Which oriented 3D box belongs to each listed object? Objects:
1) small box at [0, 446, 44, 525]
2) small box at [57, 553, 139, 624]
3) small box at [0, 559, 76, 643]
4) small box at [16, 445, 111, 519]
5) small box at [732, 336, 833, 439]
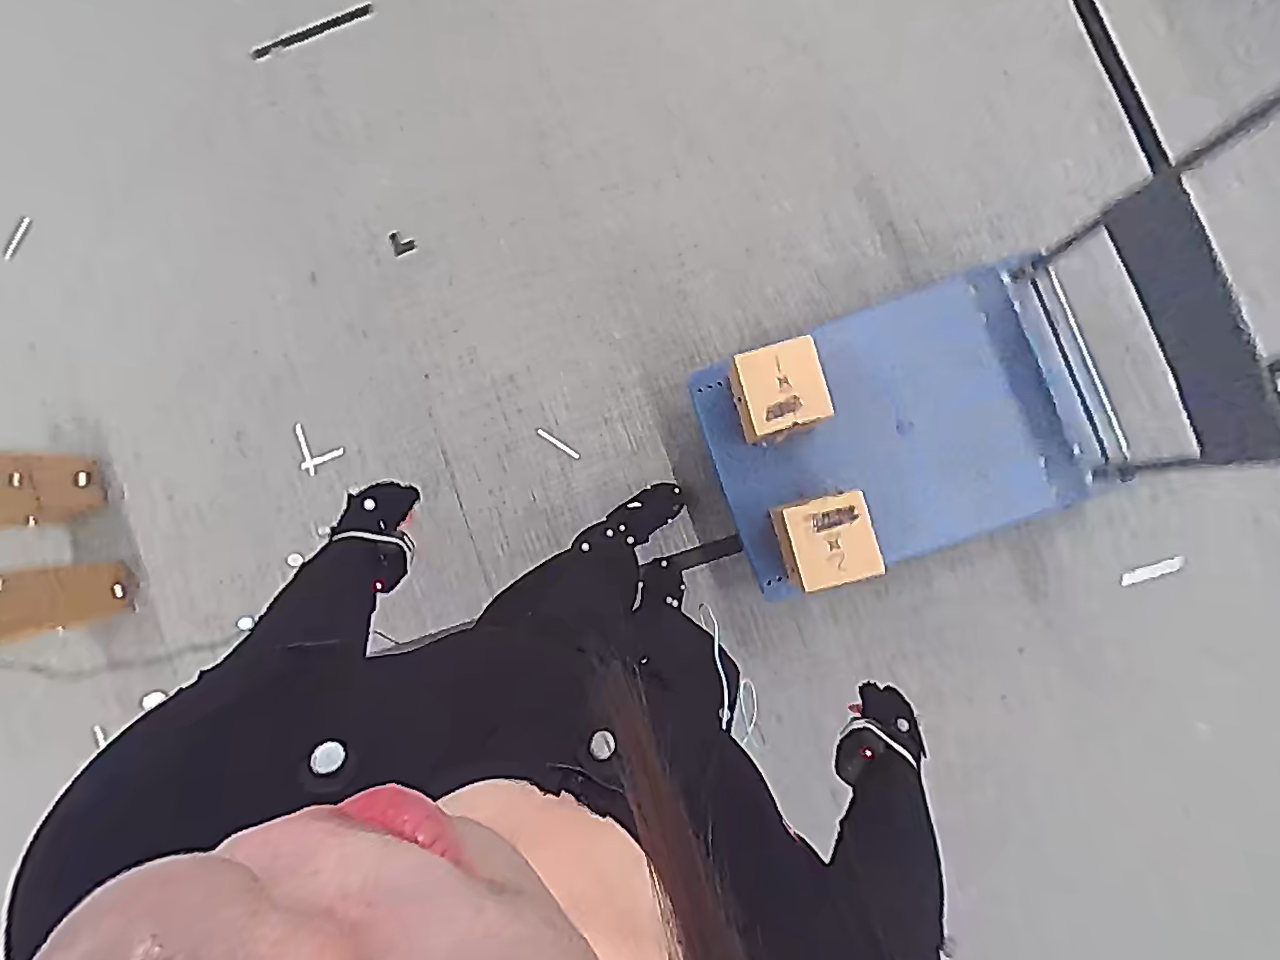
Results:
[{"bbox_3d":[-1.729,0.013,1.404,0.168,0.176,0.179,-21,85,5],"label":"small box"},{"bbox_3d":[-1.607,0.315,1.548,0.179,0.176,0.168,-17,87,4],"label":"small box"},{"bbox_3d":[-1.619,0.317,1.387,0.168,0.176,0.179,-21,86,5],"label":"small box"},{"bbox_3d":[-1.712,0.013,1.568,0.179,0.176,0.168,-21,86,4],"label":"small box"},{"bbox_3d":[0.306,-0.193,1.193,0.168,0.176,0.179,-15,86,4],"label":"small box"}]
